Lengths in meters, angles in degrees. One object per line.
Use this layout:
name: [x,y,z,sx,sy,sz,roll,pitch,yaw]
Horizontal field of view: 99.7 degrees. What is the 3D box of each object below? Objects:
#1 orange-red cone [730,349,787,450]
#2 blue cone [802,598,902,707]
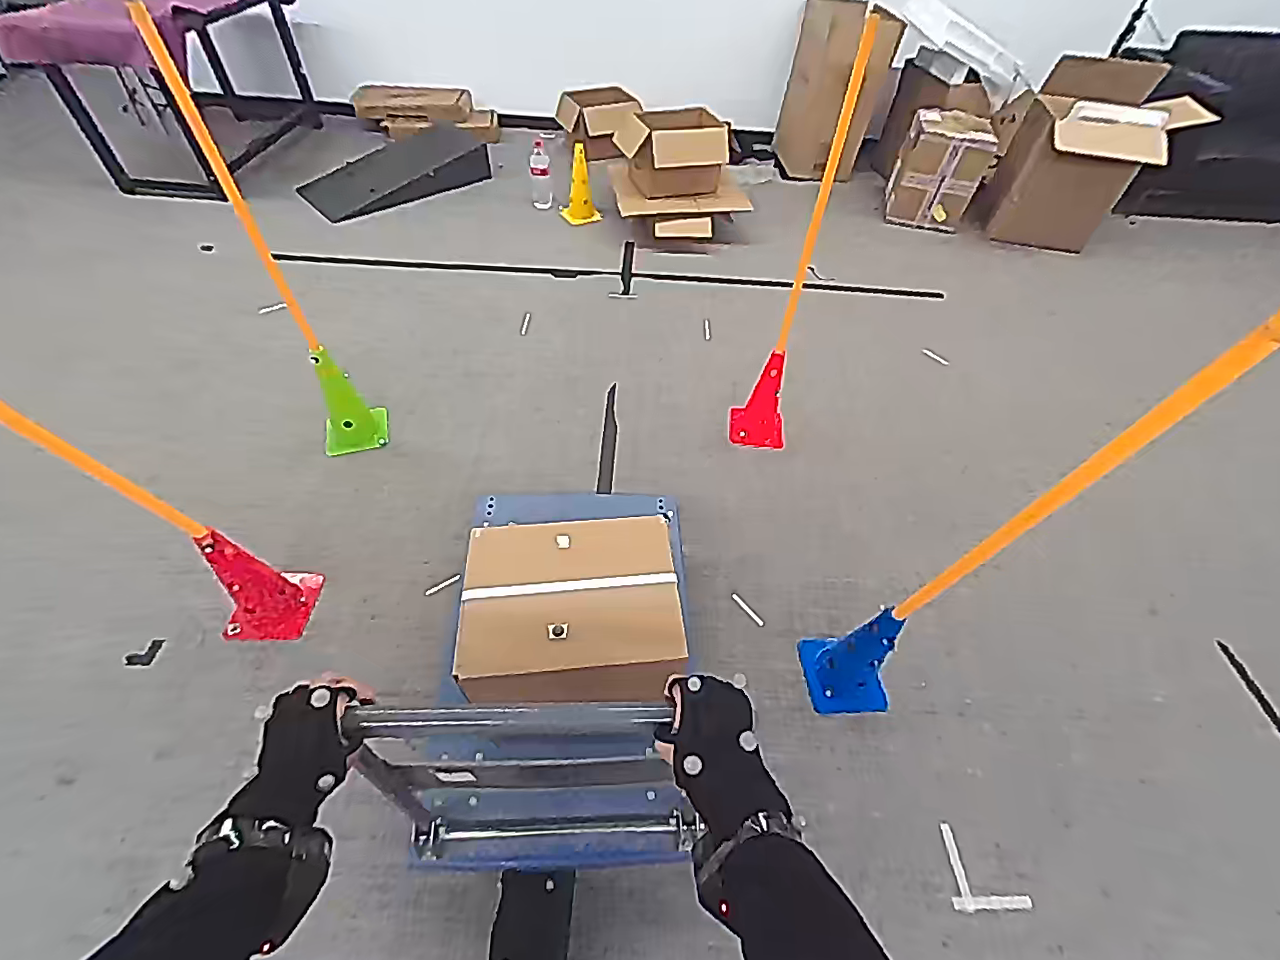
orange-red cone: [0.451,-0.303,1.891,0.199,0.360,0.198,9,51,2]
blue cone: [0.555,0.406,1.329,0.193,0.380,0.192,0,49,-4]
